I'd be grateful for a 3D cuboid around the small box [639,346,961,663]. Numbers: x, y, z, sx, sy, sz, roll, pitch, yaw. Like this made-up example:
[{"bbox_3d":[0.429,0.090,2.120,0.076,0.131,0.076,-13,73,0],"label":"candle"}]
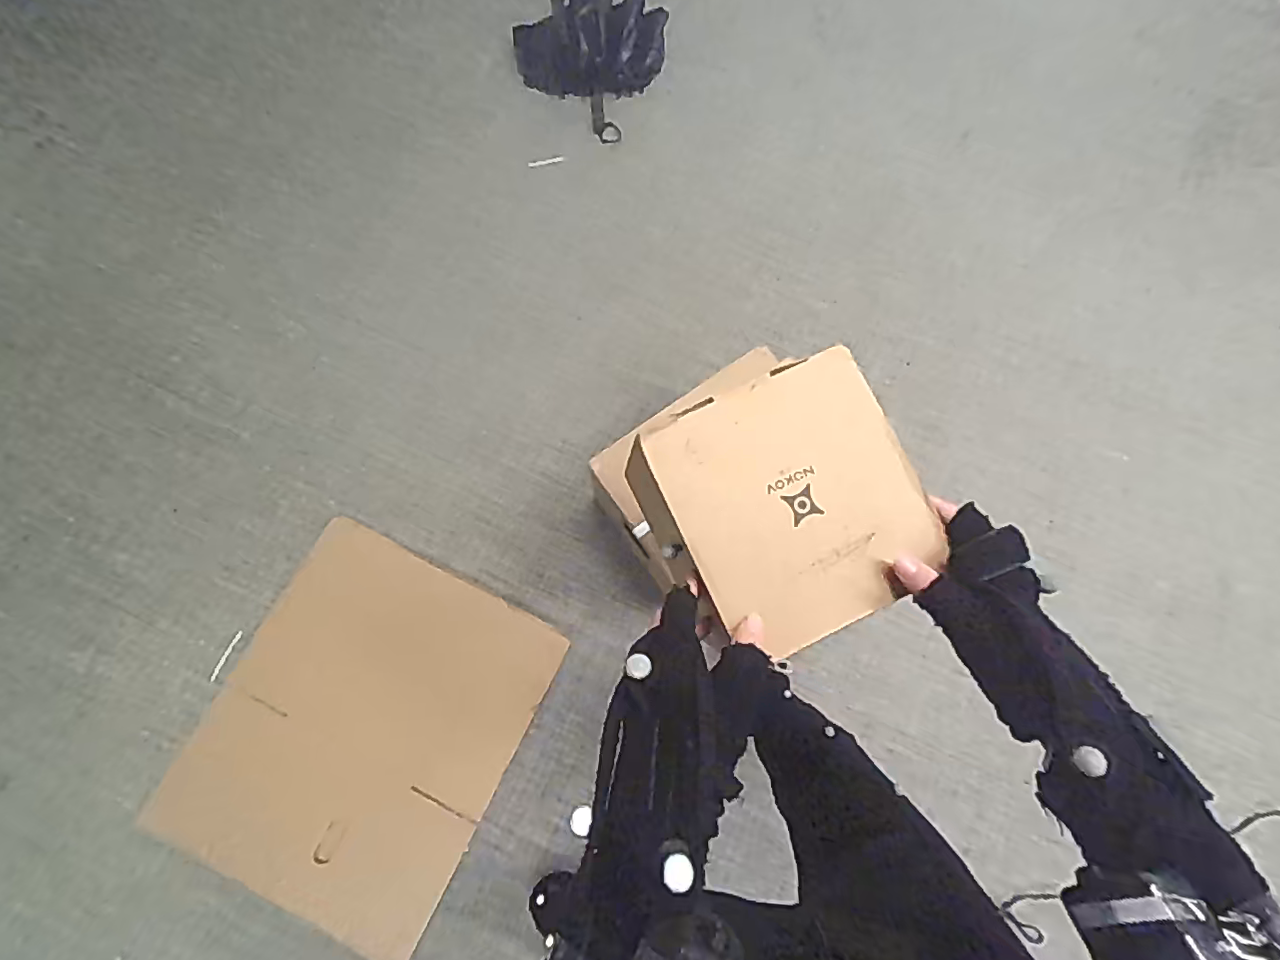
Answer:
[{"bbox_3d":[0.107,0.024,0.450,0.168,0.176,0.179,-26,84,-6],"label":"small box"}]
